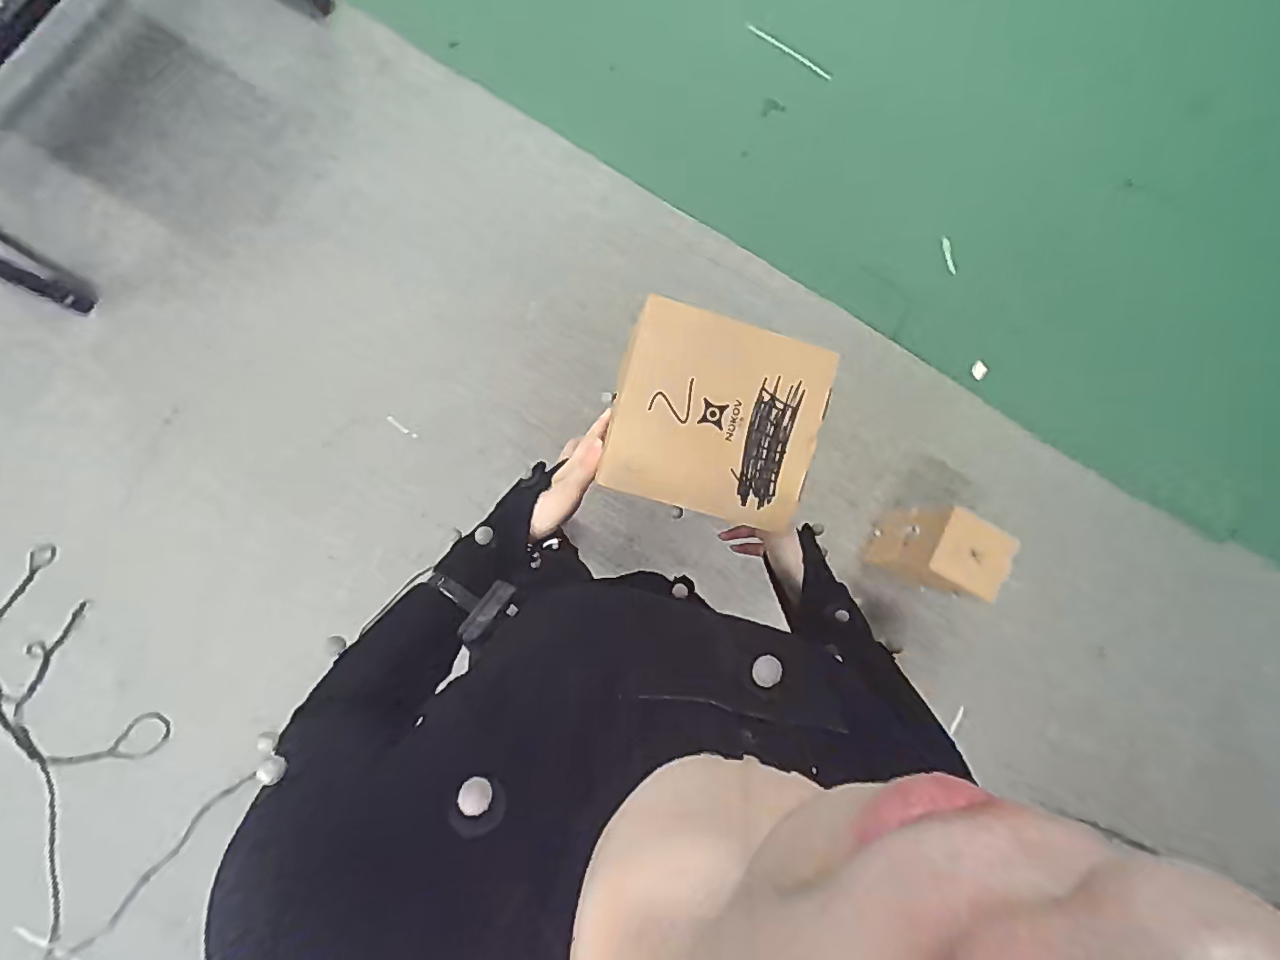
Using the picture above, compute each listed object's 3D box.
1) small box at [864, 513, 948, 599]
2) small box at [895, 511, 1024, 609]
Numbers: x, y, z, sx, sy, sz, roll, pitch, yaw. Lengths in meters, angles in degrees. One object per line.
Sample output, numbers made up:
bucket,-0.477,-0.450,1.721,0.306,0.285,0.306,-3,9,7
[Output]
small box,0.750,0.200,1.466,0.179,0.176,0.168,28,83,0
small box,0.761,0.189,1.305,0.179,0.176,0.168,29,82,0
